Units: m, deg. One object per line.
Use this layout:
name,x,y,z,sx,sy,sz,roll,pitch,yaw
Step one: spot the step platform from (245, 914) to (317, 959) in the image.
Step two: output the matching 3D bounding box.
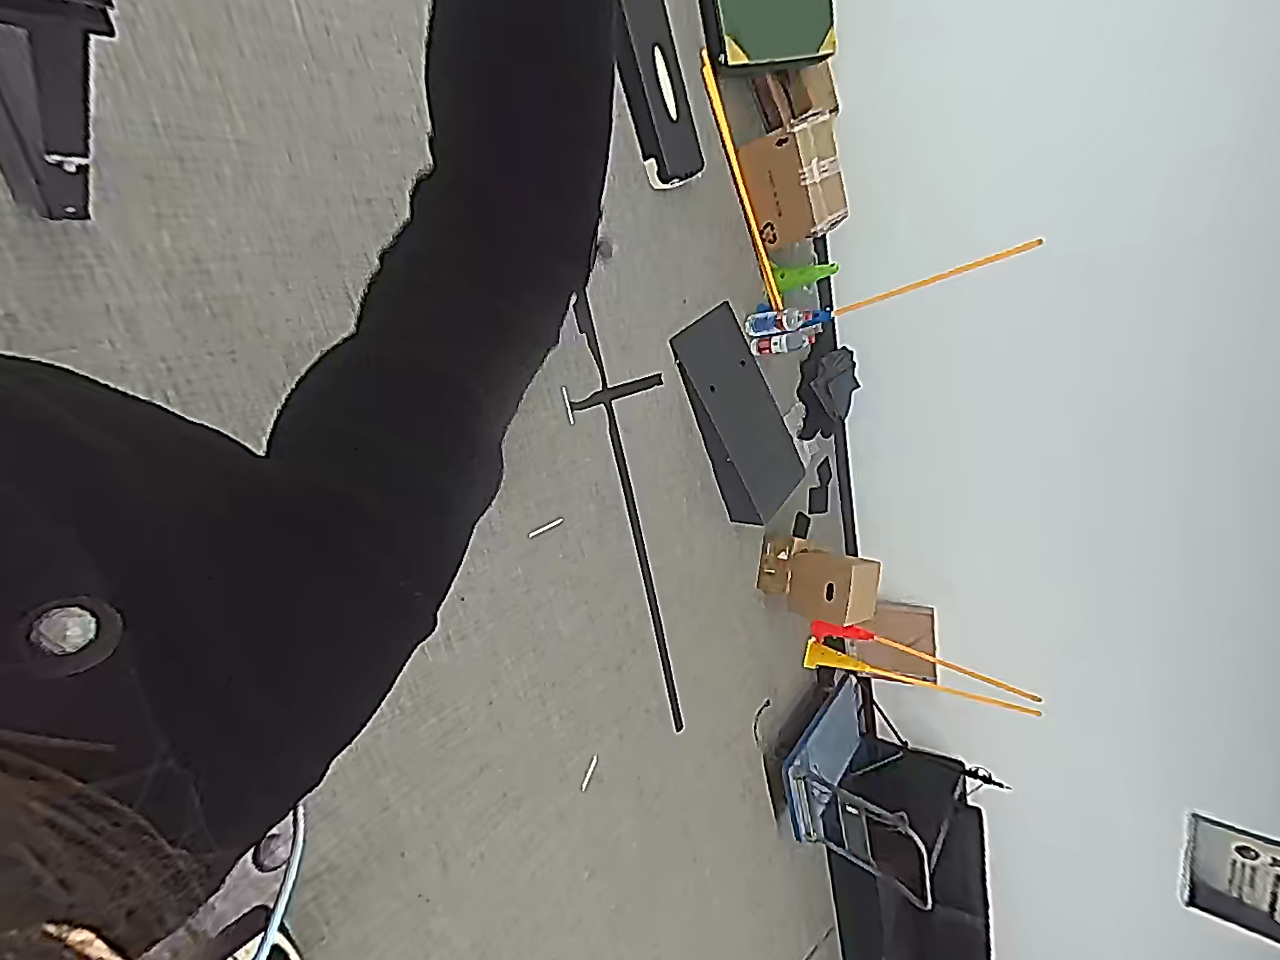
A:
step platform,-1.018,1.280,1.090,0.684,0.204,0.286,-19,106,-45
